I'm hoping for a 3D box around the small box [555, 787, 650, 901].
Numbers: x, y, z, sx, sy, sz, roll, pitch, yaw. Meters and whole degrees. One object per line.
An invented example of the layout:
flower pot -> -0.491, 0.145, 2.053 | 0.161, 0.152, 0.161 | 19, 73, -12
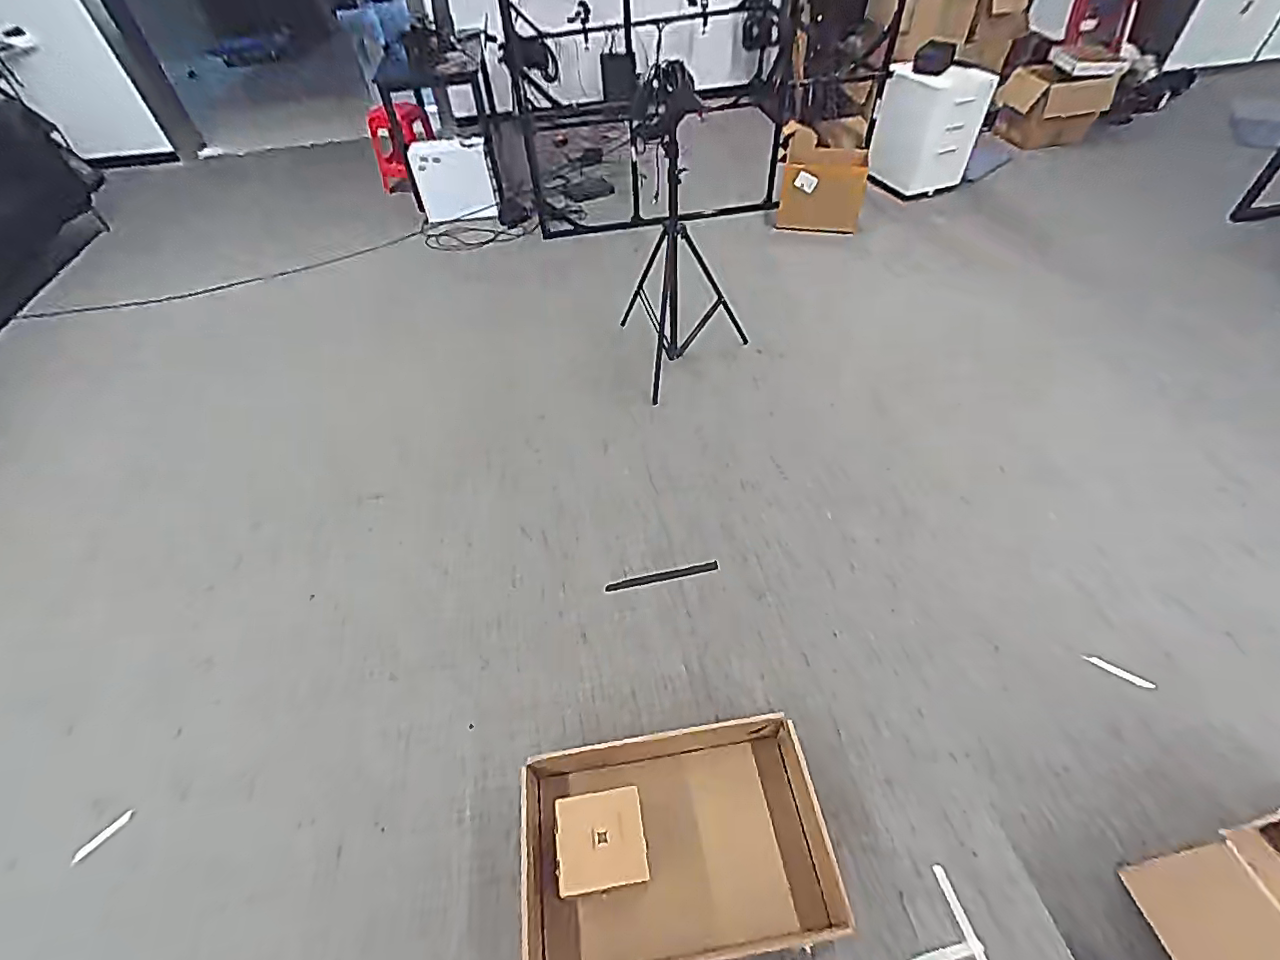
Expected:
small box -> -0.077, 0.769, 1.140 | 0.179, 0.176, 0.168 | -8, 51, -5
